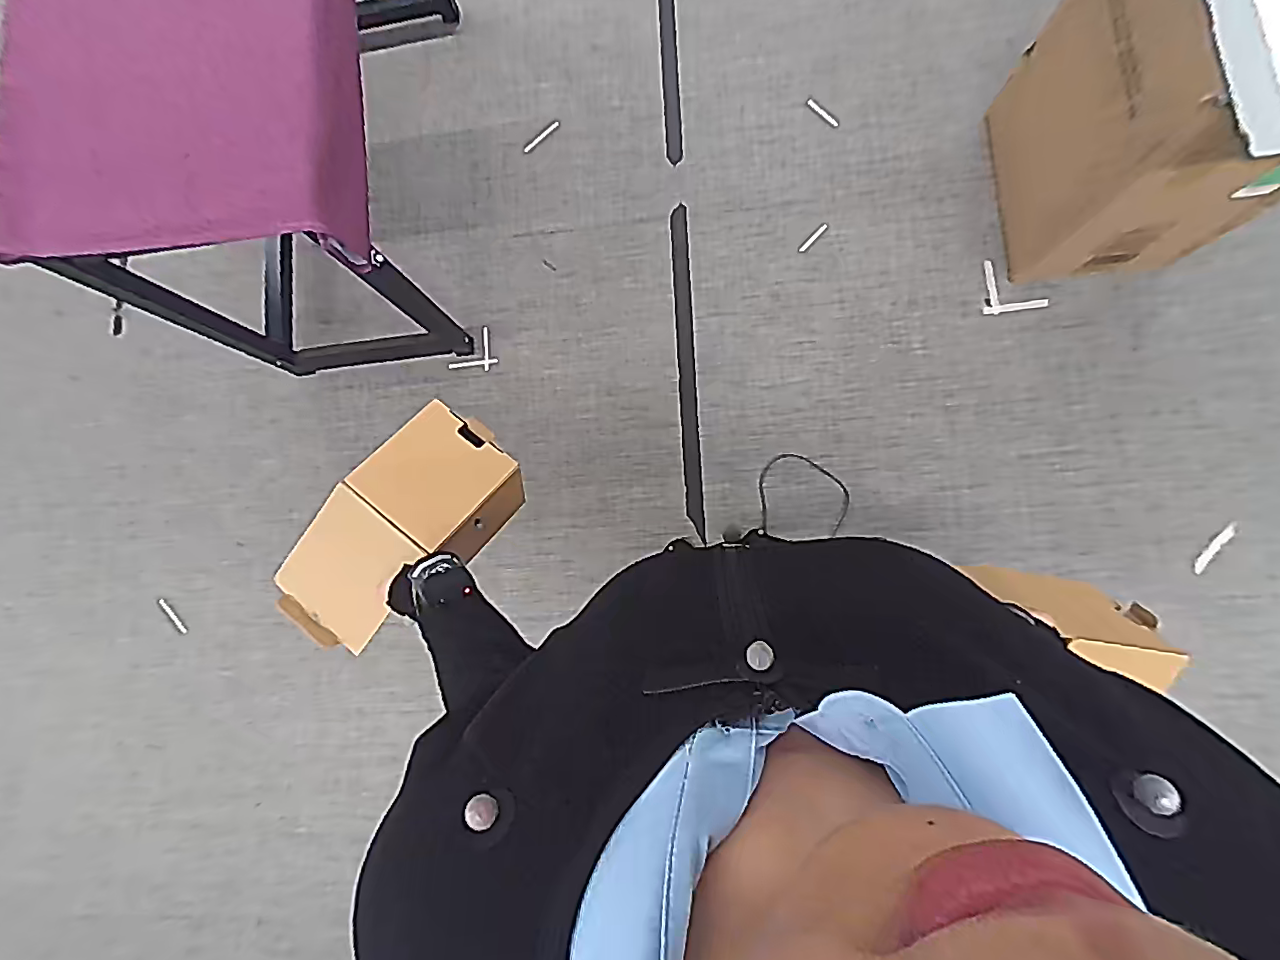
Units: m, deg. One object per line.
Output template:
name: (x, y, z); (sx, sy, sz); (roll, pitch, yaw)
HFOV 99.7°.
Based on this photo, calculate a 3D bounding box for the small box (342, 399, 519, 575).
small box: (-0.297, 0.020, 0.816); (0.168, 0.176, 0.179); (38, 67, 6)
